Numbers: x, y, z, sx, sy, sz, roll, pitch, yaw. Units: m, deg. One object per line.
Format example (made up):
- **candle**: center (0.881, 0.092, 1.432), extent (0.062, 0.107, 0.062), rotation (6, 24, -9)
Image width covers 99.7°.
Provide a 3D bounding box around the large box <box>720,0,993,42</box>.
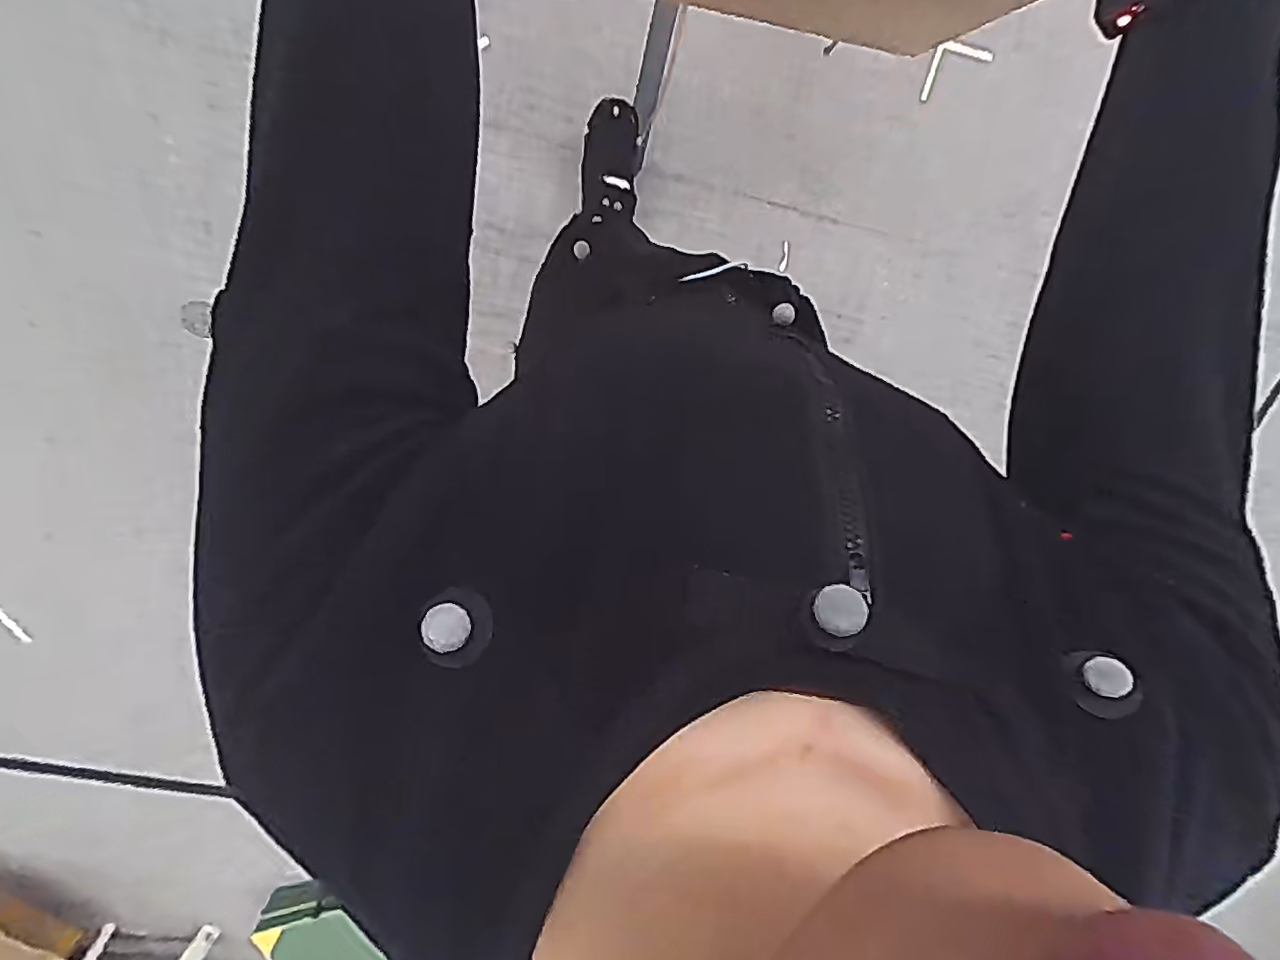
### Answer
- **large box**: center (0.136, -0.573, 0.384), extent (0.408, 0.320, 0.320), rotation (10, 120, -5)
